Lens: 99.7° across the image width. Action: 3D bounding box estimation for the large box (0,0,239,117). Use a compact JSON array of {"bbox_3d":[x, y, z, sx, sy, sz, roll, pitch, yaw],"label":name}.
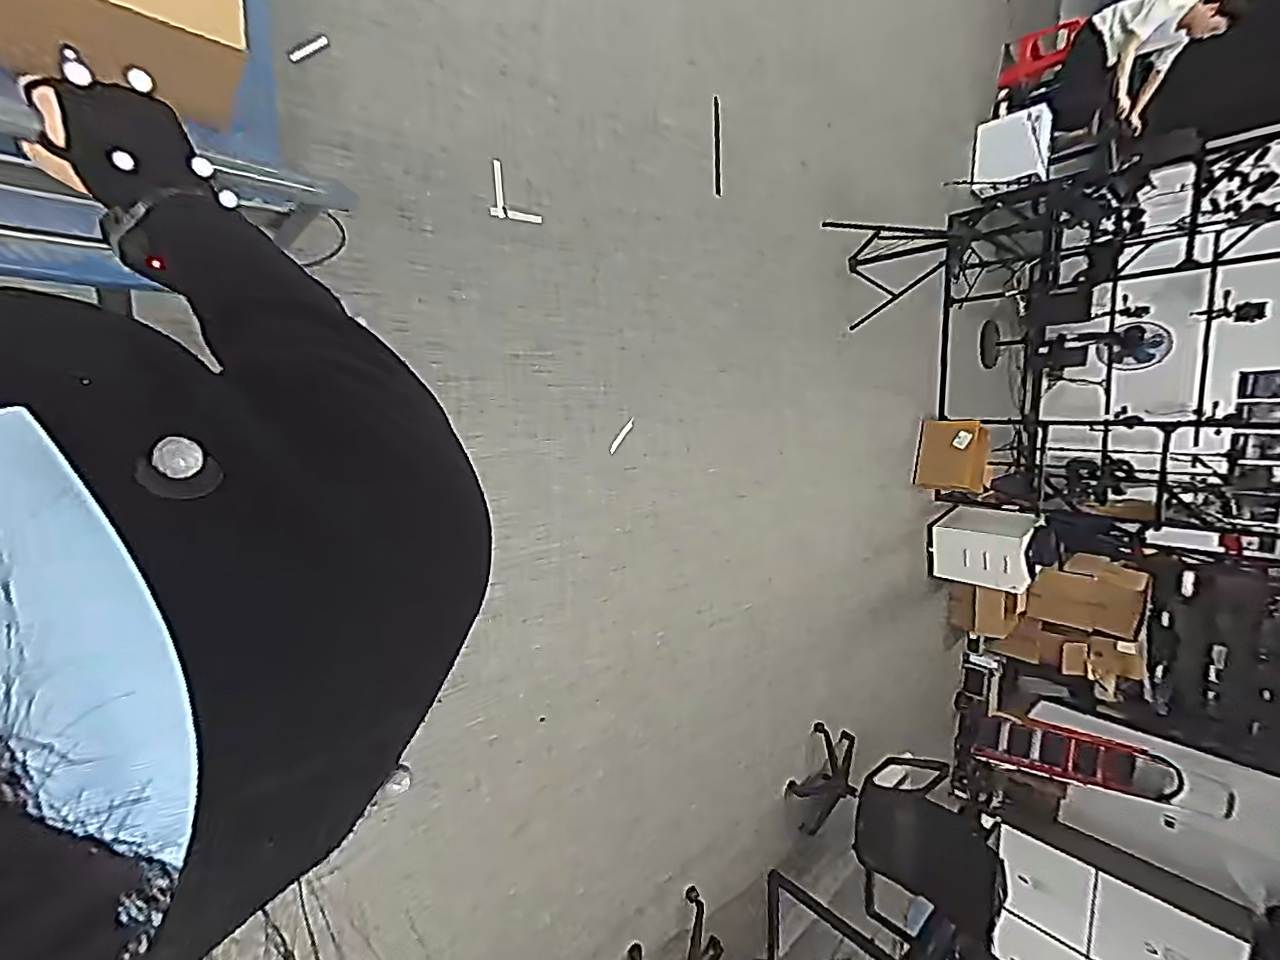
[{"bbox_3d":[-0.855,-0.808,0.783,0.408,0.320,0.320,-6,98,-40],"label":"large box"}]
